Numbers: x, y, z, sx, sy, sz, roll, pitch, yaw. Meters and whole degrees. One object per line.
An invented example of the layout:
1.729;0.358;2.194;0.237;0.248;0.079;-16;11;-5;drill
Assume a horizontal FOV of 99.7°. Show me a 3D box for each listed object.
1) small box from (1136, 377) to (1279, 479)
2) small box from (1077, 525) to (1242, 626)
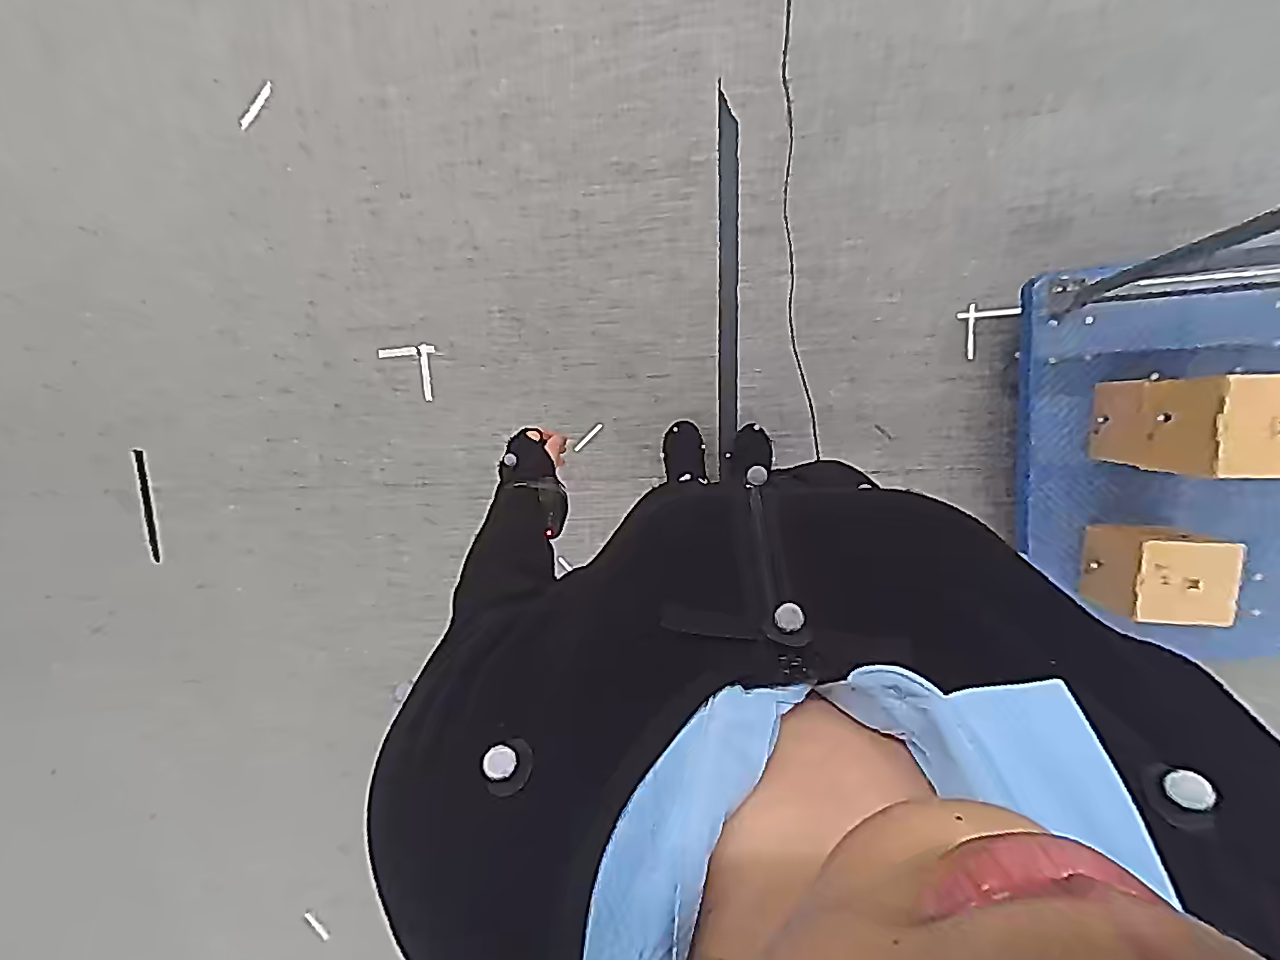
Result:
1.023;-0.093;0.932;0.179;0.176;0.168;0;97;8;small box
1.068;0.191;1.127;0.179;0.176;0.168;2;97;7;small box
